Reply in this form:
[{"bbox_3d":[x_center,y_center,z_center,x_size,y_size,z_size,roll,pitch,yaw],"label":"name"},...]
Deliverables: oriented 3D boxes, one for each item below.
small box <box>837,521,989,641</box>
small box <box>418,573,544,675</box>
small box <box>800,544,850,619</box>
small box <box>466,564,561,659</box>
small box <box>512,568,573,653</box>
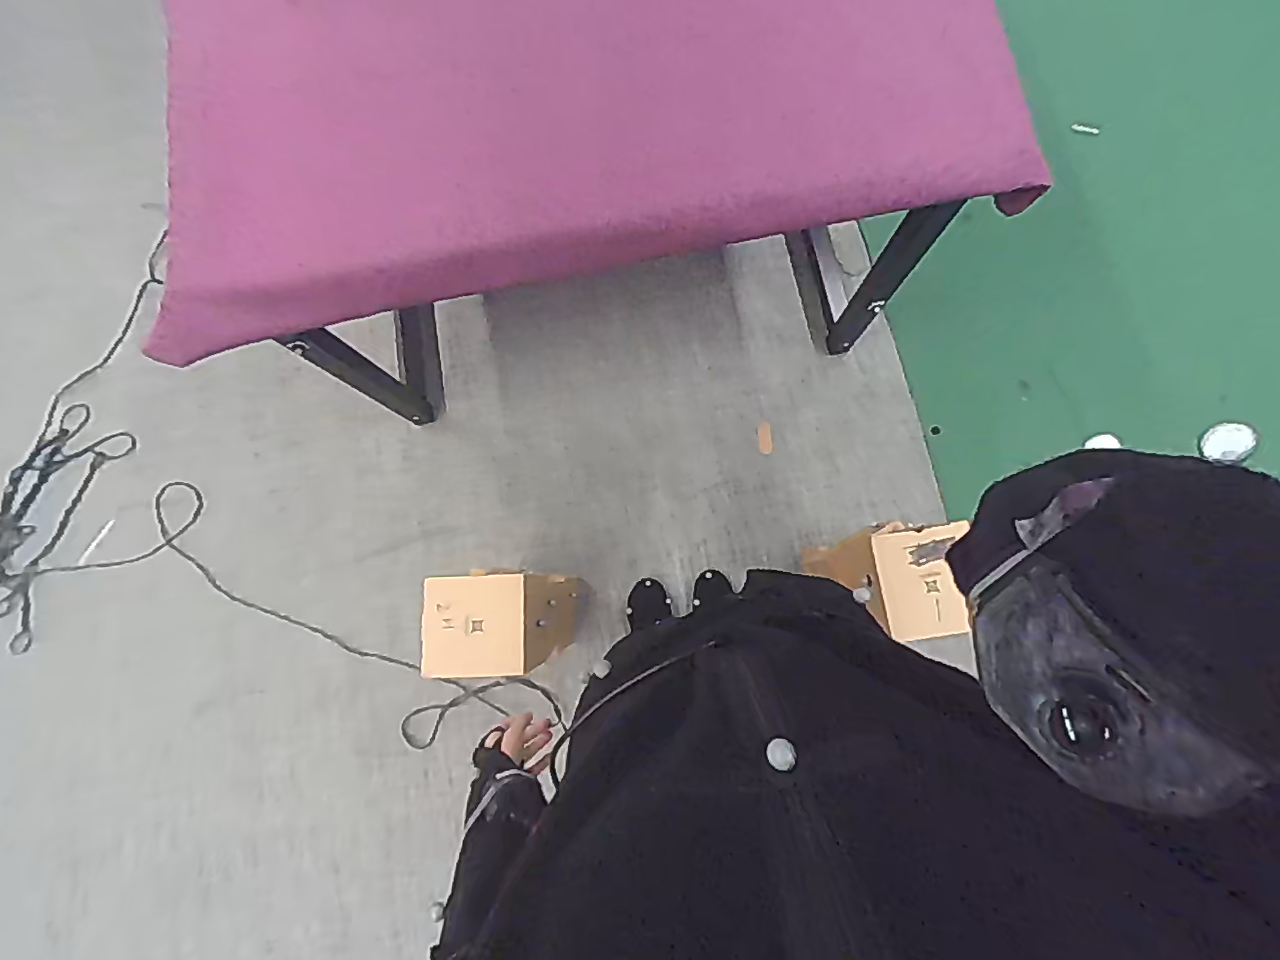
[{"bbox_3d":[0.464,0.175,0.950,0.168,0.176,0.179,-8,81,0],"label":"small box"},{"bbox_3d":[-0.274,0.252,0.973,0.179,0.176,0.168,-2,79,3],"label":"small box"},{"bbox_3d":[0.480,0.239,1.273,0.179,0.176,0.168,0,80,3],"label":"small box"},{"bbox_3d":[-0.275,0.281,1.136,0.168,0.176,0.179,10,80,6],"label":"small box"},{"bbox_3d":[-0.259,0.305,1.295,0.168,0.176,0.179,5,81,4],"label":"small box"}]
